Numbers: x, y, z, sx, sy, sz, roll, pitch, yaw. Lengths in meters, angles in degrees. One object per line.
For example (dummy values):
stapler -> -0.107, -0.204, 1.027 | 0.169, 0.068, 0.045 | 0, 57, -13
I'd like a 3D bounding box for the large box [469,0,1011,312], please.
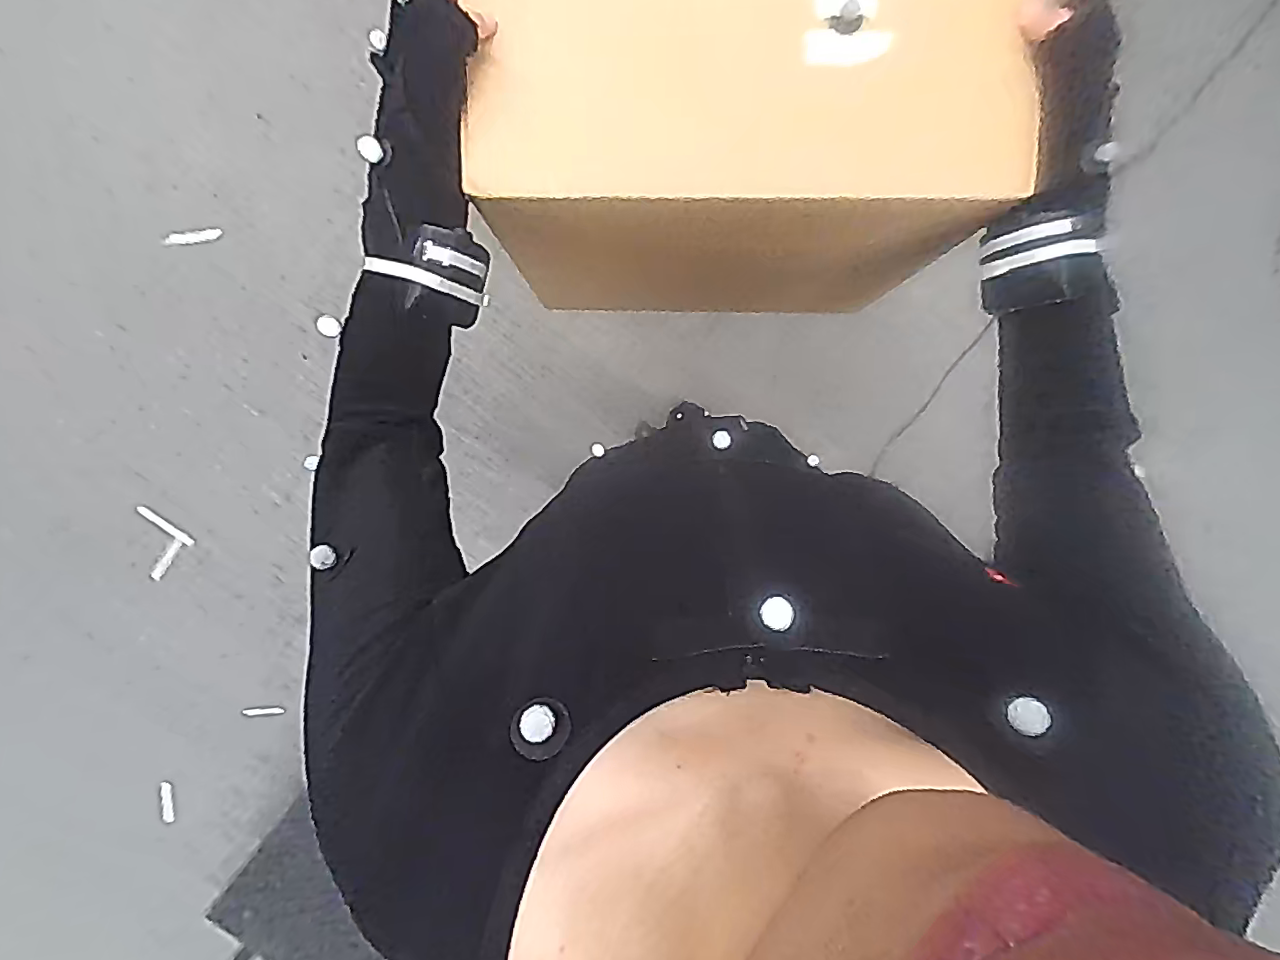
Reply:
large box -> 0.070, -0.369, 0.544 | 0.408, 0.320, 0.320 | -1, 93, 0
